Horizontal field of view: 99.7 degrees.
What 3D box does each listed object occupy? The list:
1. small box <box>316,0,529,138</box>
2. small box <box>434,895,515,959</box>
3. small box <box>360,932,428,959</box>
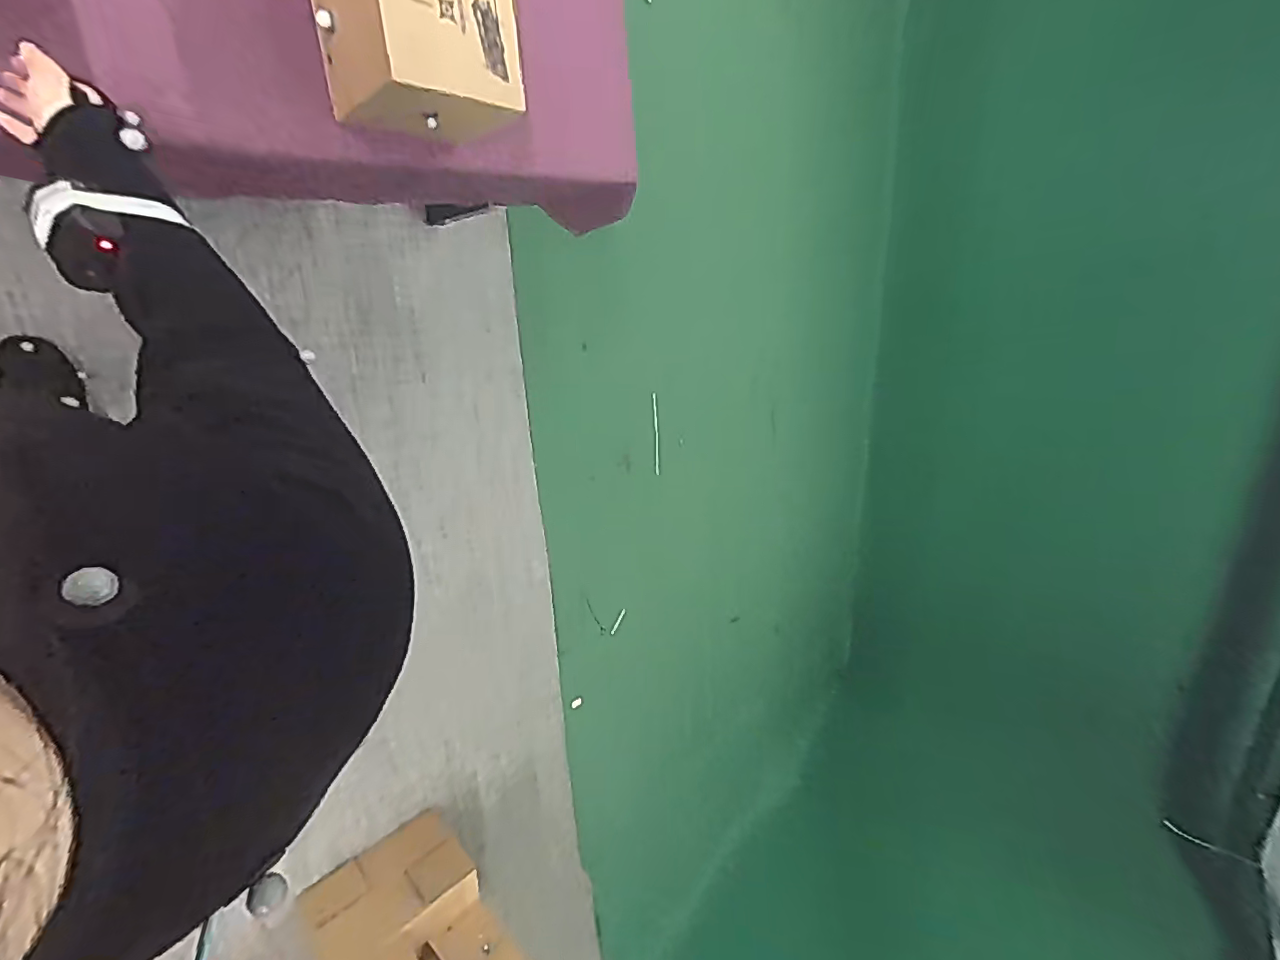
[{"bbox_3d":[-0.261,-0.533,0.653,0.179,0.176,0.168,-21,115,-42],"label":"small box"},{"bbox_3d":[-0.481,1.371,1.567,0.168,0.176,0.179,-14,113,-47],"label":"small box"},{"bbox_3d":[-0.634,1.315,1.379,0.168,0.176,0.179,-12,111,-44],"label":"small box"}]
